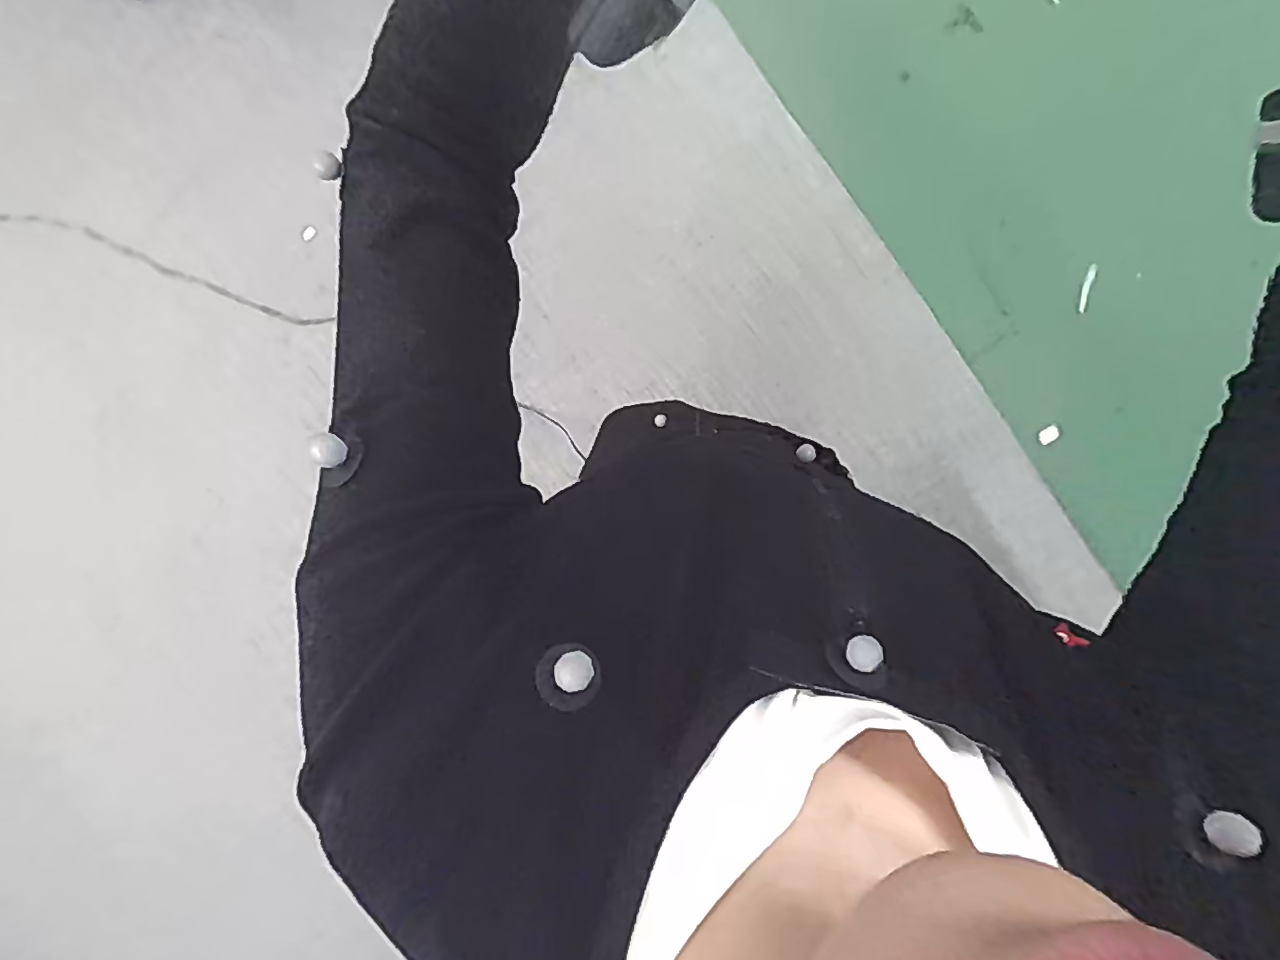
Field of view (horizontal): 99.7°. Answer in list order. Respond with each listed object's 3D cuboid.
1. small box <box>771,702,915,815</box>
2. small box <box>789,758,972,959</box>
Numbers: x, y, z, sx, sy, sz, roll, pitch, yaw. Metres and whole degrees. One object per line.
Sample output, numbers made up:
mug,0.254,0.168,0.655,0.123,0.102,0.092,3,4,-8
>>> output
small box,0.364,0.543,1.001,0.168,0.176,0.179,-33,95,8
small box,0.355,0.571,0.839,0.168,0.176,0.179,-36,93,8
